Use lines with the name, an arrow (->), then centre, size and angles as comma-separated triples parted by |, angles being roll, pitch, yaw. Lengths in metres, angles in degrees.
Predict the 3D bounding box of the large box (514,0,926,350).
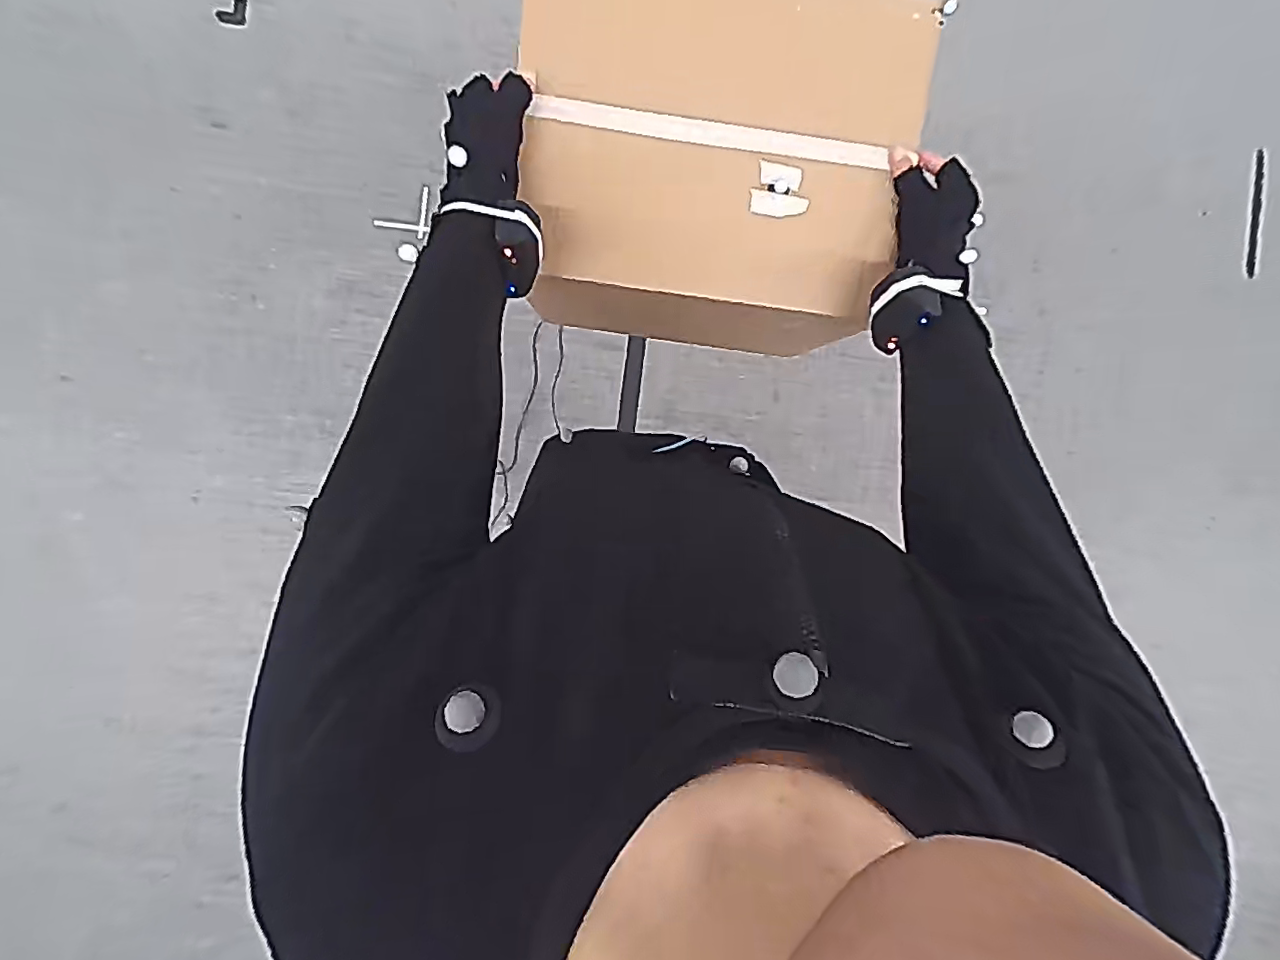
large box -> 0.071, -0.362, 0.698 | 0.408, 0.320, 0.320 | 6, 97, -4
